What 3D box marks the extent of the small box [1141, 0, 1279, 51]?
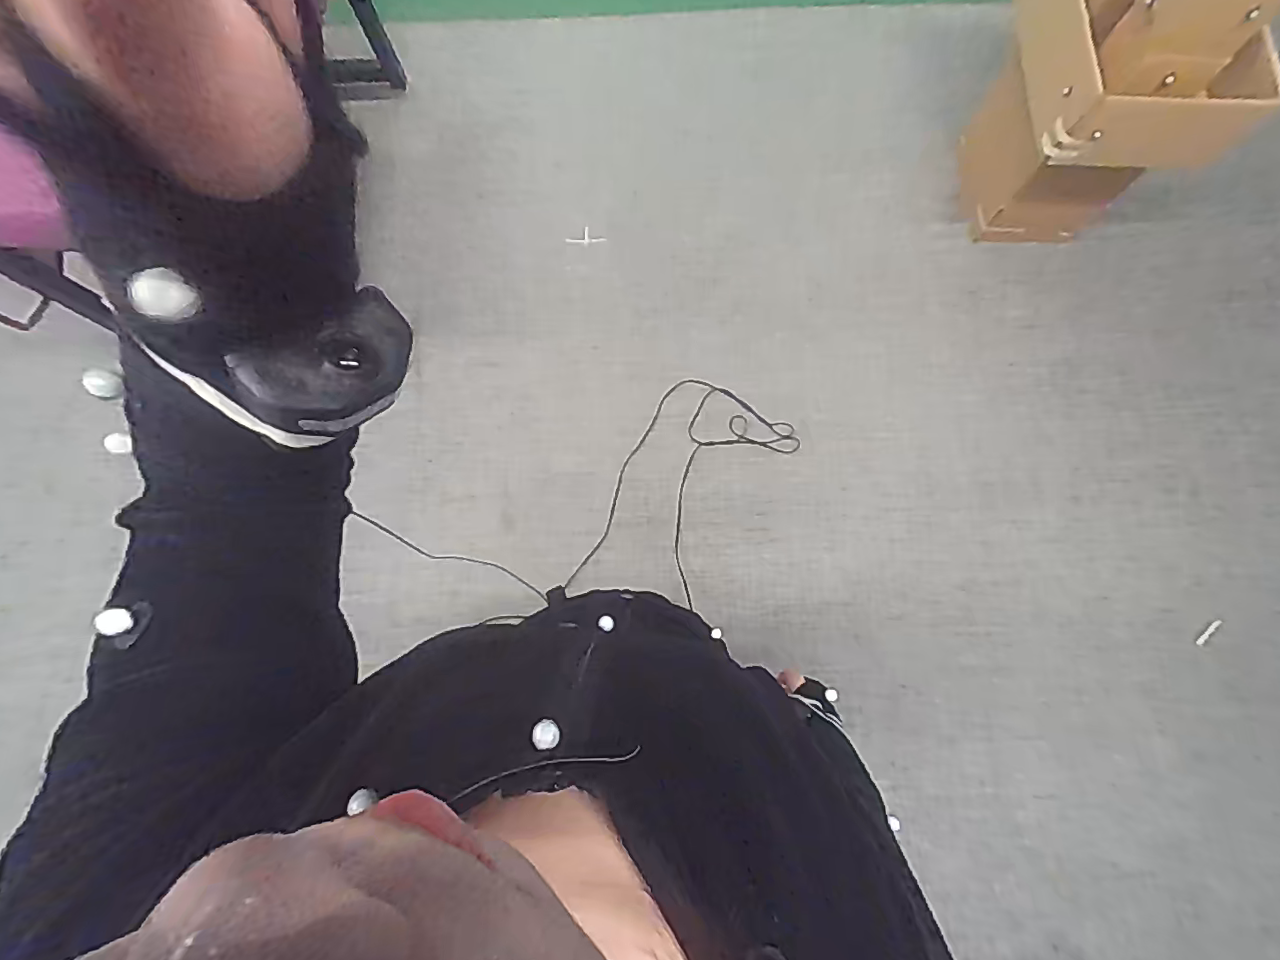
[{"bbox_3d":[1.161,-0.996,1.073,0.179,0.176,0.168,5,75,5],"label":"small box"}]
